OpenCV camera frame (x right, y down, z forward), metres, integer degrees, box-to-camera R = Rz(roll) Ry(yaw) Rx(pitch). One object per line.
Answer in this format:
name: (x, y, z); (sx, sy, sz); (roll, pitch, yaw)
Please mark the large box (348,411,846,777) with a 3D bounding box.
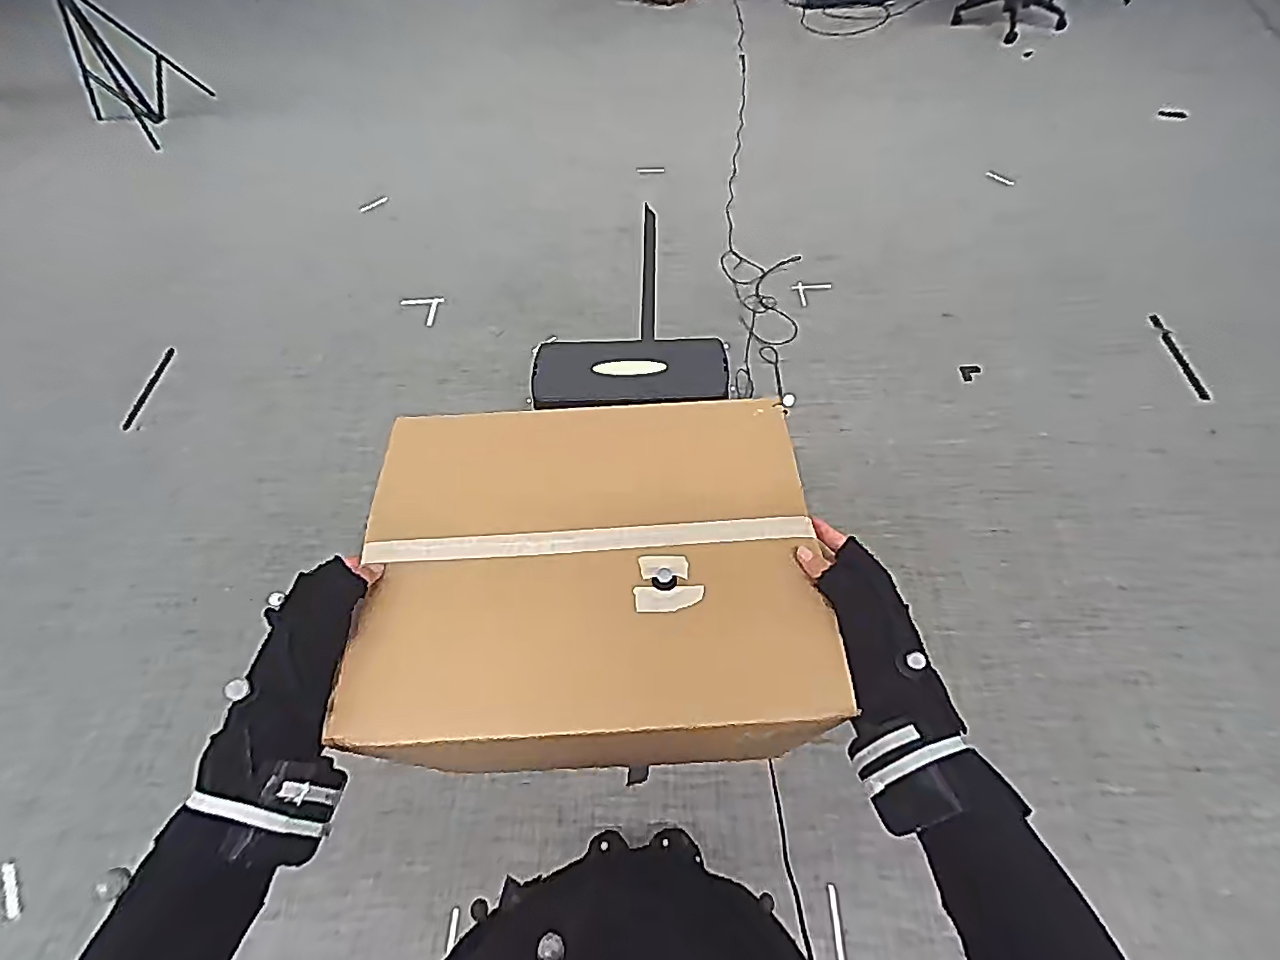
large box: (-0.039, 0.145, 0.628); (0.408, 0.320, 0.320); (-3, 58, 0)
